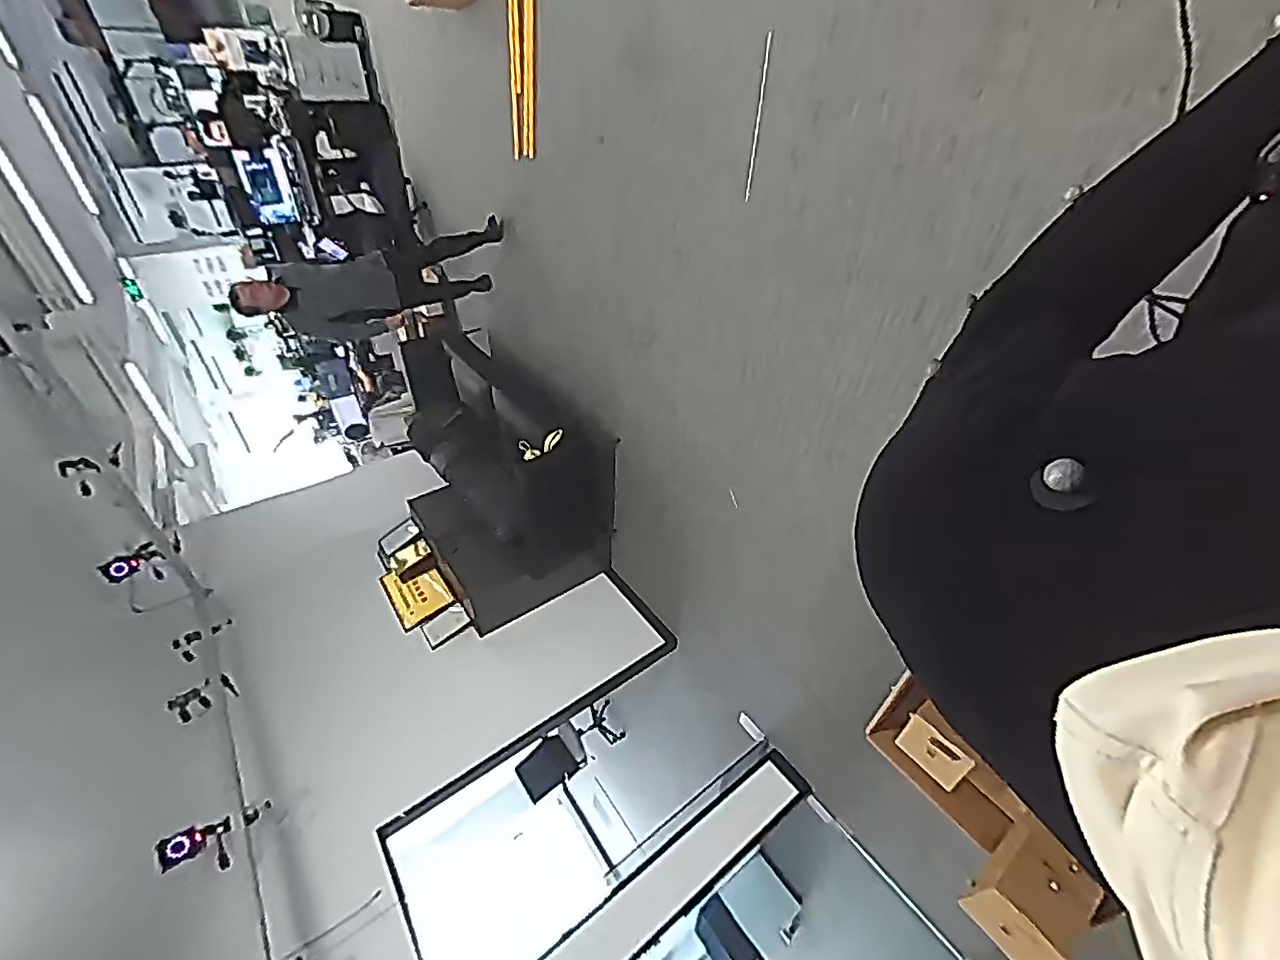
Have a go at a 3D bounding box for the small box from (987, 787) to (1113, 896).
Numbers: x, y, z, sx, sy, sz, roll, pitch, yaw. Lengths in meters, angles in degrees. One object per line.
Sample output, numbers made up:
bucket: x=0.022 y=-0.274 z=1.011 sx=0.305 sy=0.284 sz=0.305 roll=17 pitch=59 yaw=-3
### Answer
small box: x=1.024 y=0.914 z=1.350 sx=0.168 sy=0.176 sz=0.179 roll=42 pitch=143 yaw=35

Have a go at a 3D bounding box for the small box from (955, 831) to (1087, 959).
small box: x=0.894 y=0.973 z=1.270 sx=0.168 sy=0.176 sz=0.179 roll=43 pitch=143 yaw=33
